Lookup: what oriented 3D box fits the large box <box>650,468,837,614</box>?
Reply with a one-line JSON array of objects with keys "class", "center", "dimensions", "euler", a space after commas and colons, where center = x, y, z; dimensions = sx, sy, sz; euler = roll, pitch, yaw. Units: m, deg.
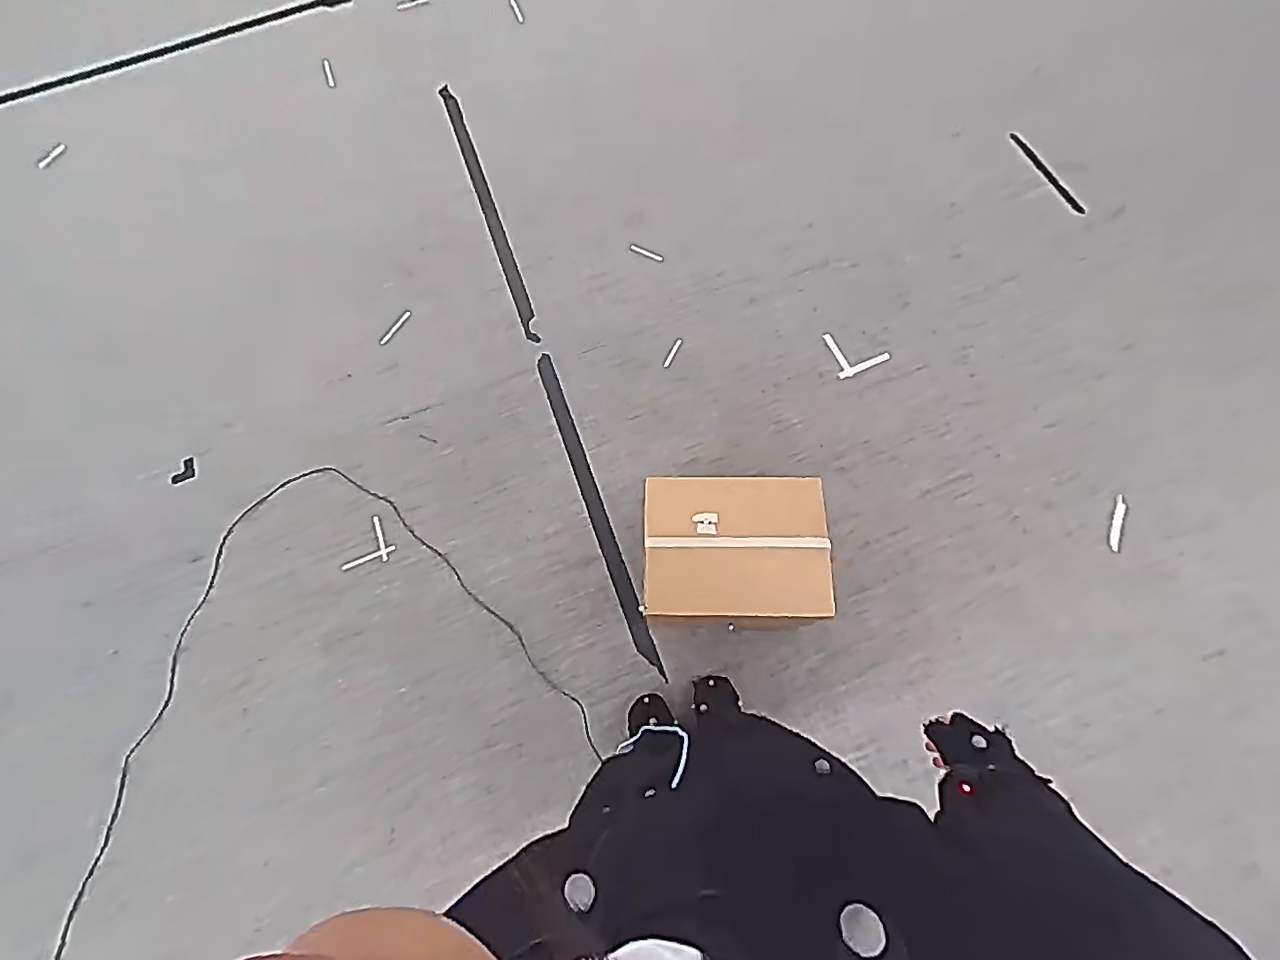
[{"class": "large box", "center": [0.235, 0.167, 1.352], "dimensions": [0.408, 0.320, 0.320], "euler": [-1, 71, 4]}]
